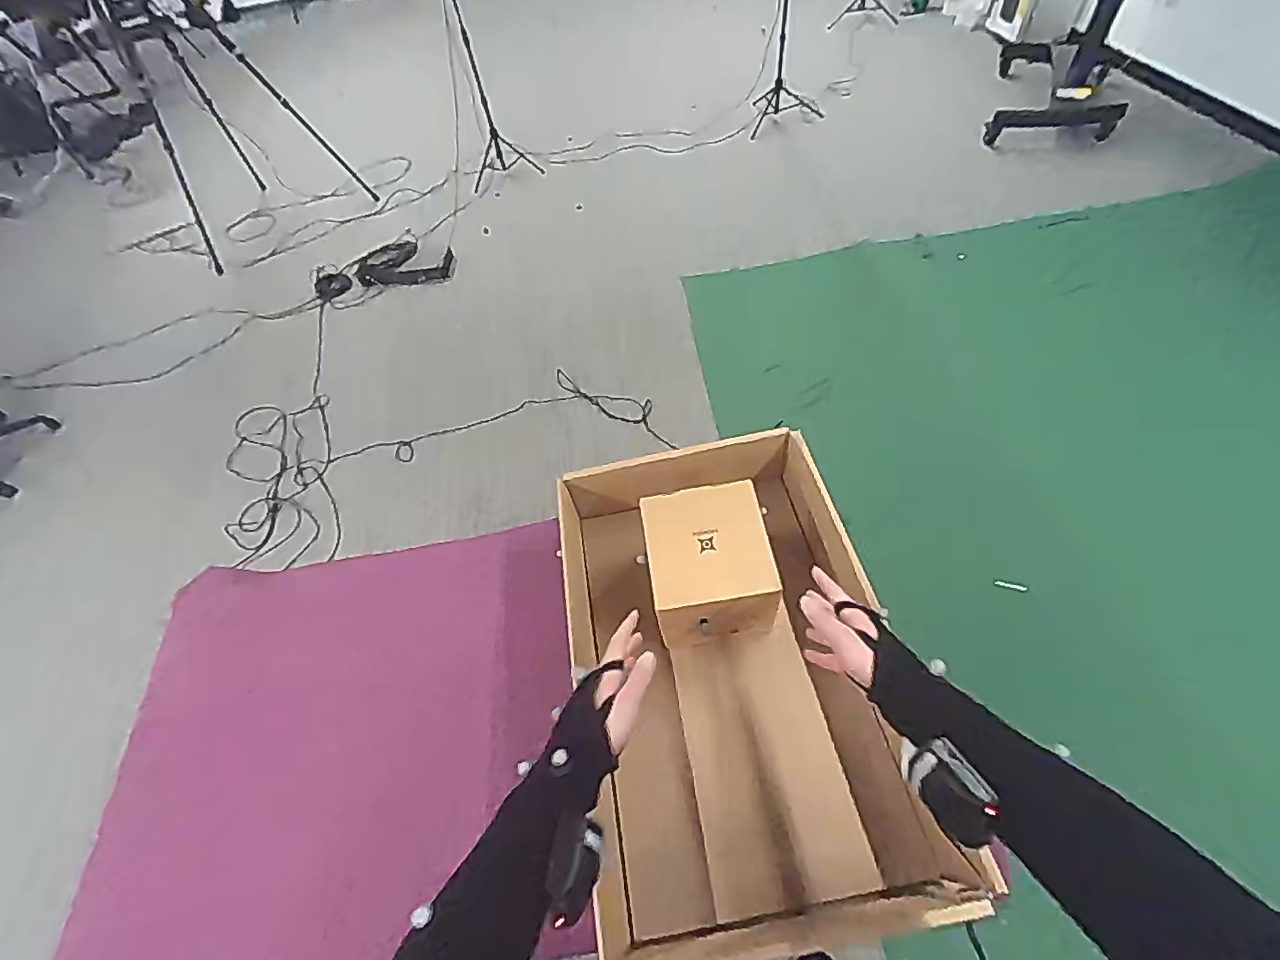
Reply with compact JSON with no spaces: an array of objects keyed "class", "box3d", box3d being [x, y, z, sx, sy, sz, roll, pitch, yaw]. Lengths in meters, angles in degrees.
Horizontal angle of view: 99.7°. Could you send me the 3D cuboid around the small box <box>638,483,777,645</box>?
[{"class":"small box","box3d":[0.098,0.133,0.799,0.168,0.176,0.179,-10,55,2]}]
